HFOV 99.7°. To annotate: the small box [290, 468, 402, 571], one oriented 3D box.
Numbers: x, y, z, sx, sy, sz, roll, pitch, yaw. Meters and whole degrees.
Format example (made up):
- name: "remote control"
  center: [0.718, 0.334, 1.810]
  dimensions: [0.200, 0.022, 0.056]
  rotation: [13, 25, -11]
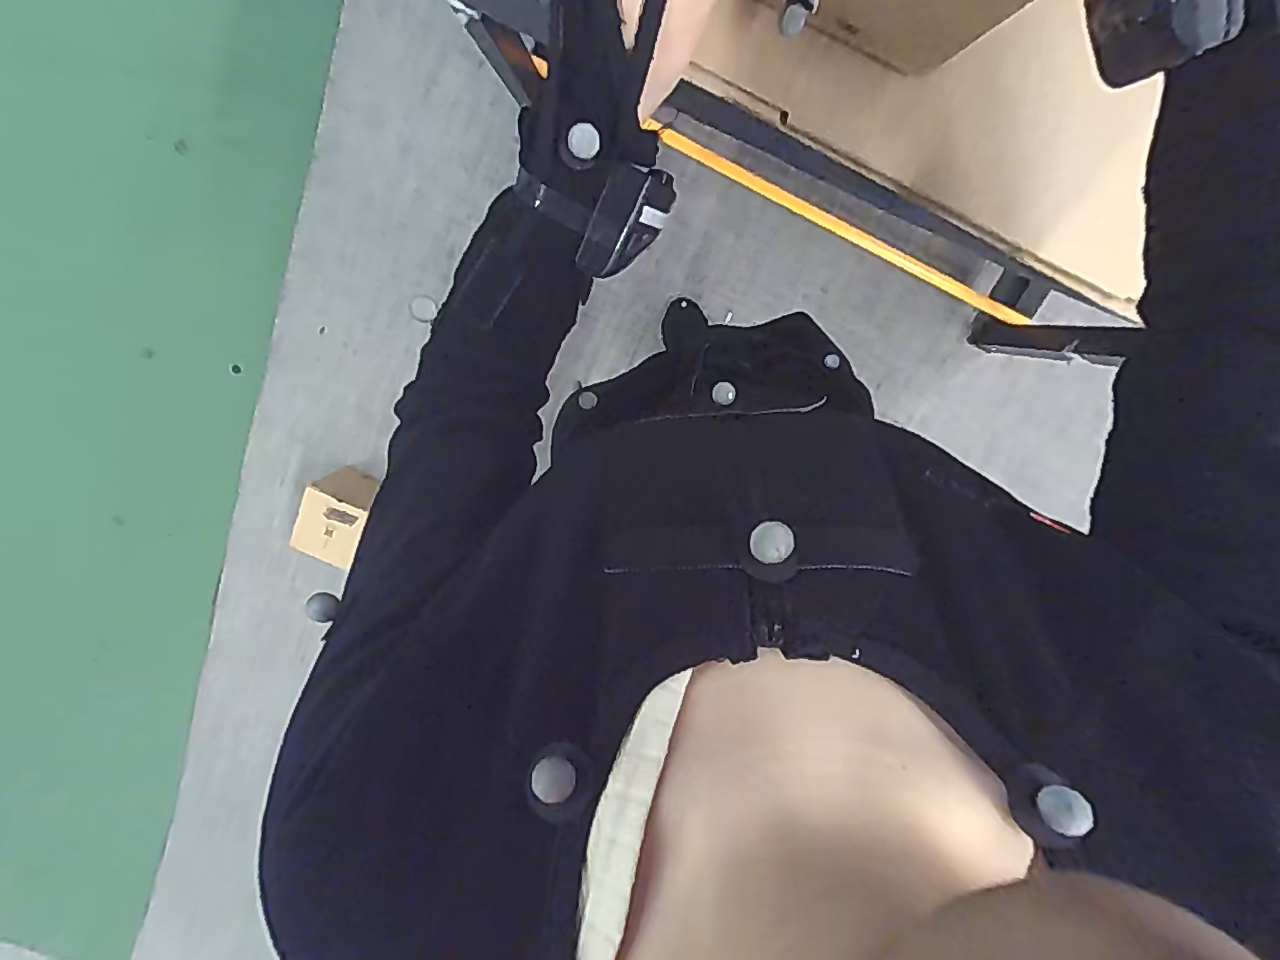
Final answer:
- name: "small box"
  center: [-0.727, 0.091, 1.355]
  dimensions: [0.168, 0.176, 0.179]
  rotation: [26, 107, -5]
